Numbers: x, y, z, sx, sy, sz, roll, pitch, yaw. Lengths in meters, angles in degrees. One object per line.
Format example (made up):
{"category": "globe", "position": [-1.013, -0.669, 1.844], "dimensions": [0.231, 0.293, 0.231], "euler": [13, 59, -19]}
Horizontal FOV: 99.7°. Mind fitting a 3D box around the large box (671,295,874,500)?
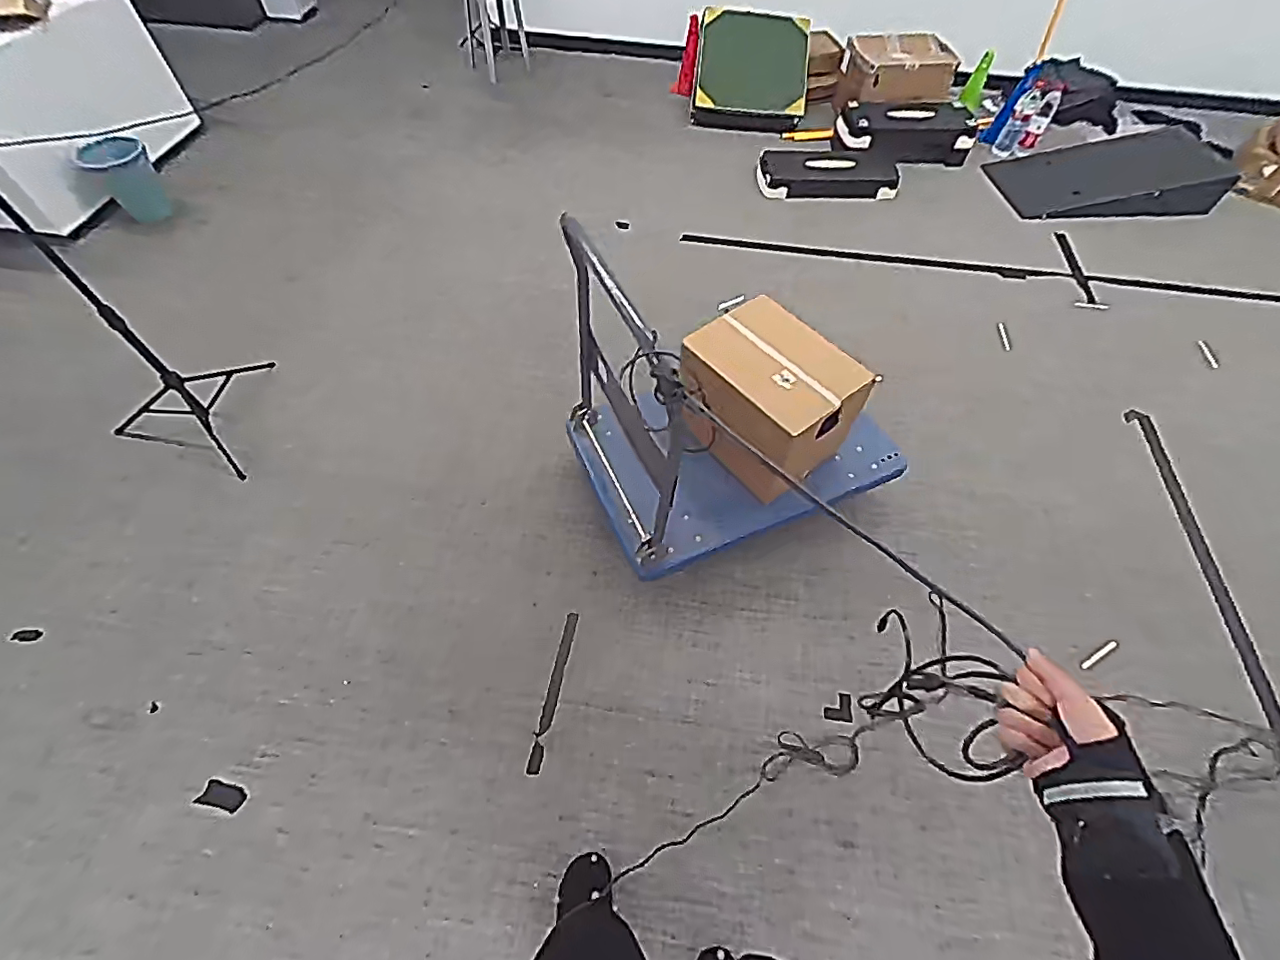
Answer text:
{"category": "large box", "position": [0.336, -0.227, 1.490], "dimensions": [0.320, 0.320, 0.408], "euler": [-34, 65, -20]}
